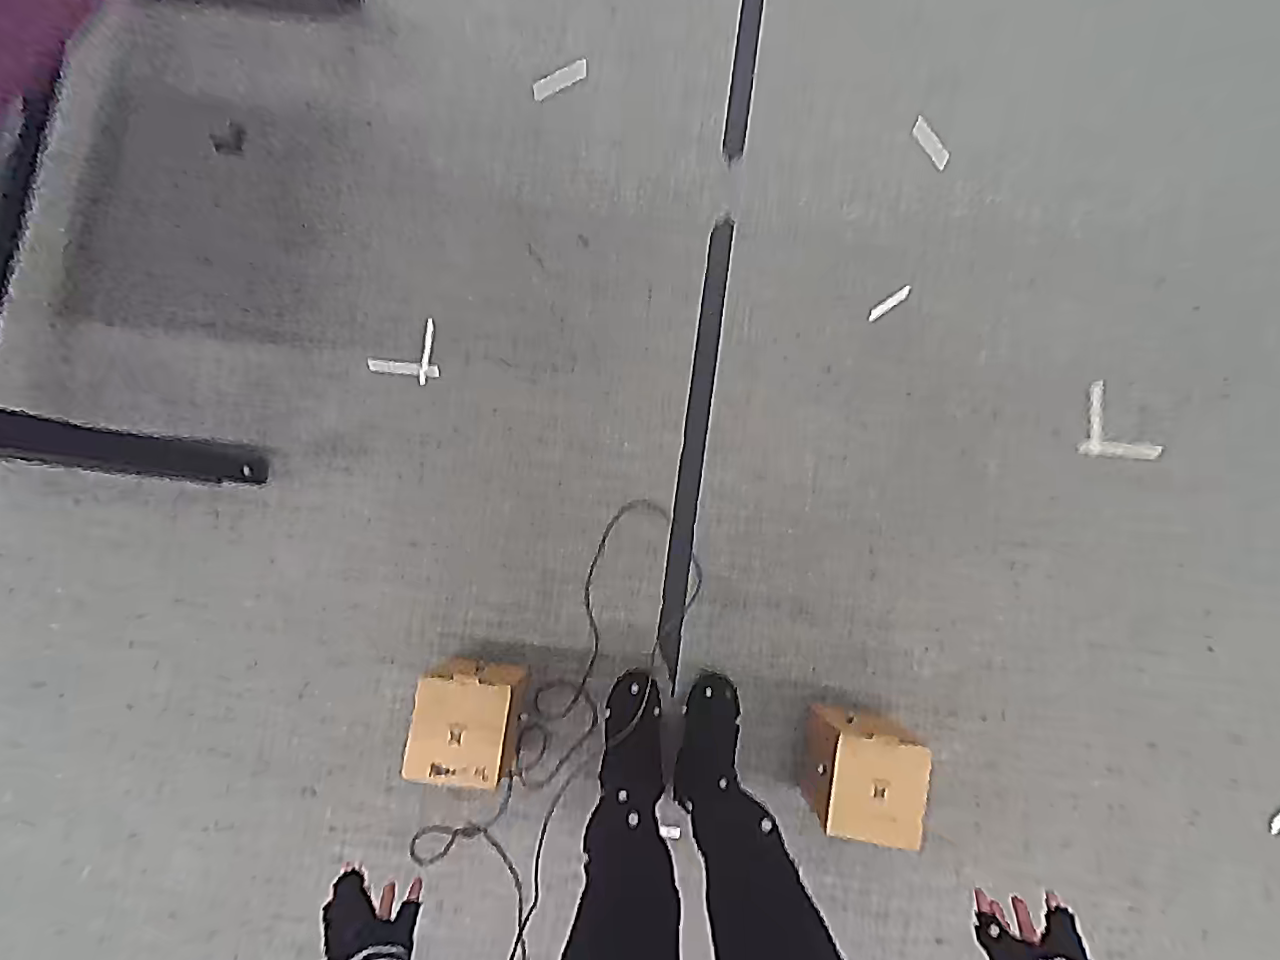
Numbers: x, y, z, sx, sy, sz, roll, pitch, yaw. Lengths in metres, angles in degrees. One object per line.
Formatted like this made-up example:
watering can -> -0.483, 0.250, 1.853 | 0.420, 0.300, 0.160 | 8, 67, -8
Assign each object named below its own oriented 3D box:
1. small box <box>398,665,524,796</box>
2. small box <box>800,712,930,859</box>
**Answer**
small box -> -0.320, 0.452, 1.005 | 0.168, 0.176, 0.179 | 8, 81, 0
small box -> 0.408, 0.553, 1.006 | 0.168, 0.176, 0.179 | 10, 84, 2
